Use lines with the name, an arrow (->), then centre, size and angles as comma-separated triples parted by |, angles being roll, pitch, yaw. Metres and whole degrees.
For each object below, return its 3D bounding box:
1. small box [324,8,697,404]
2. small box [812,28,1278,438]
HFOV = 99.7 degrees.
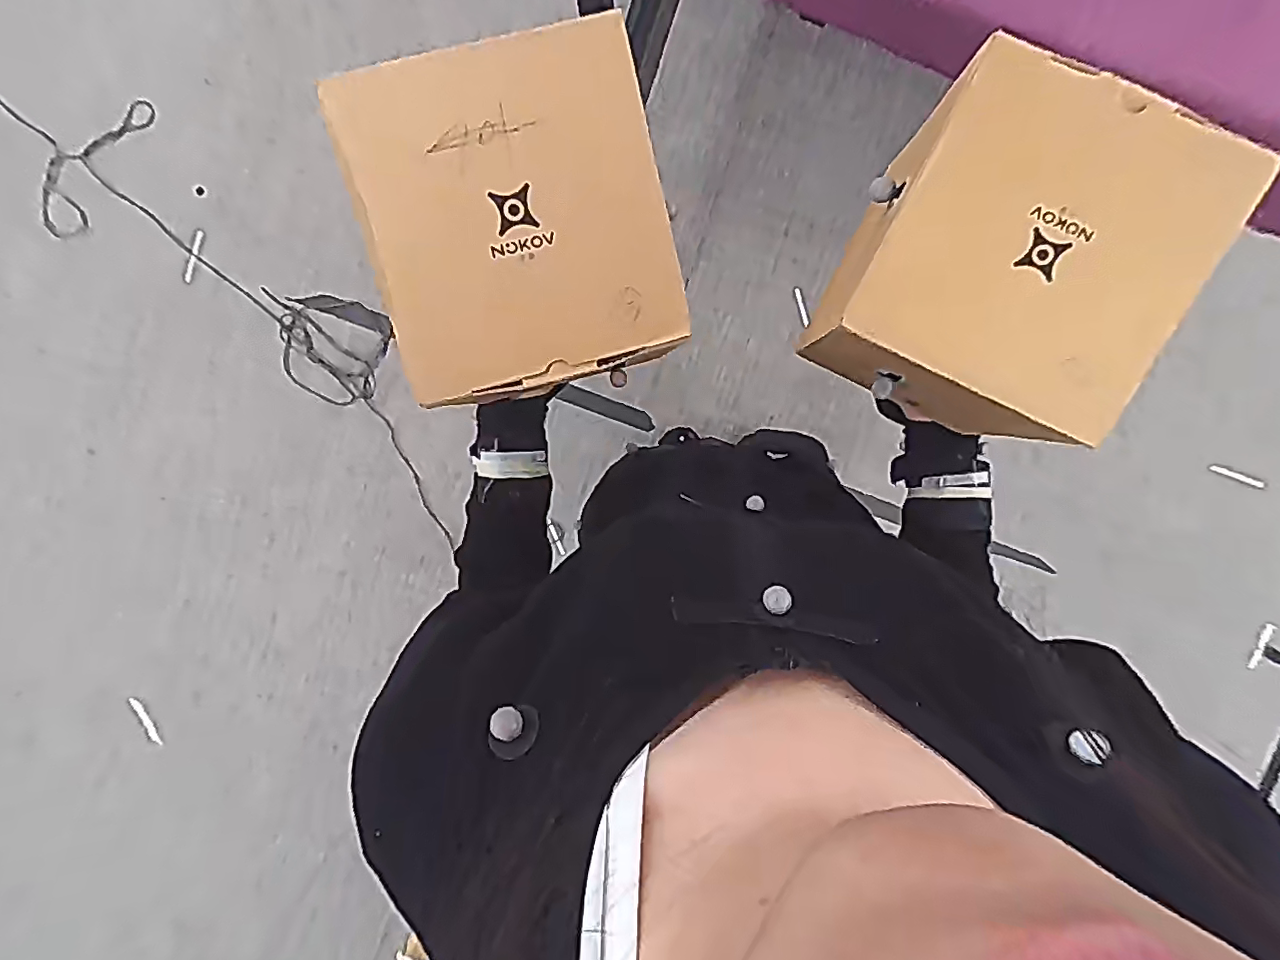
small box -> -0.071, -0.159, 0.374 | 0.168, 0.176, 0.179 | -16, 100, -3
small box -> 0.239, -0.144, 0.382 | 0.168, 0.176, 0.179 | 27, 99, 3
